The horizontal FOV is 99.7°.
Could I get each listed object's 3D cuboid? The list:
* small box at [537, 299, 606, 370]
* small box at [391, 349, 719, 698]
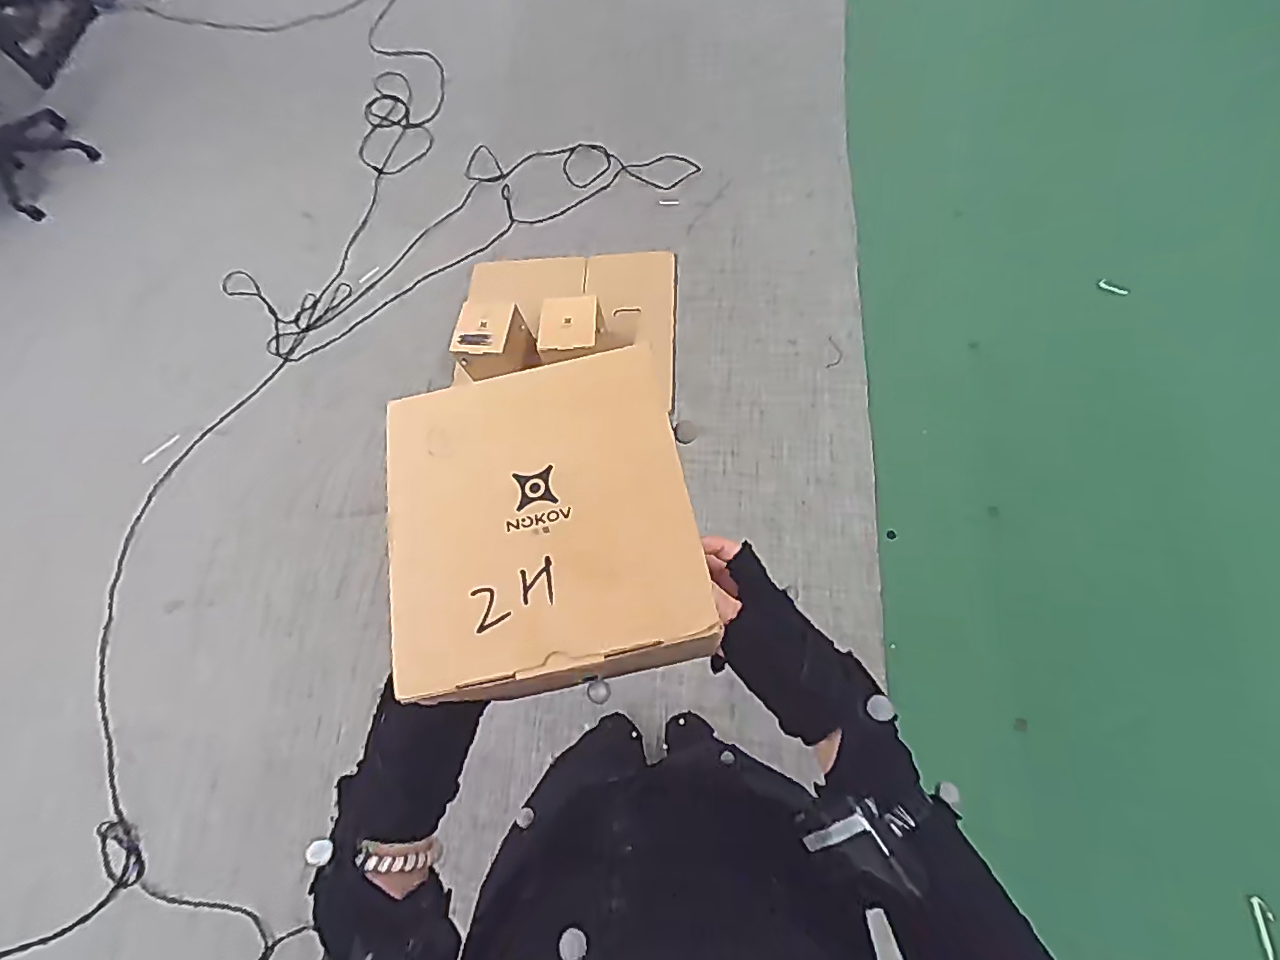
[{"bbox_3d":[-0.198,-0.411,1.605,0.168,0.176,0.179,-2,70,6],"label":"small box"},{"bbox_3d":[-0.049,0.044,0.371,0.168,0.176,0.179,-13,68,1],"label":"small box"}]
